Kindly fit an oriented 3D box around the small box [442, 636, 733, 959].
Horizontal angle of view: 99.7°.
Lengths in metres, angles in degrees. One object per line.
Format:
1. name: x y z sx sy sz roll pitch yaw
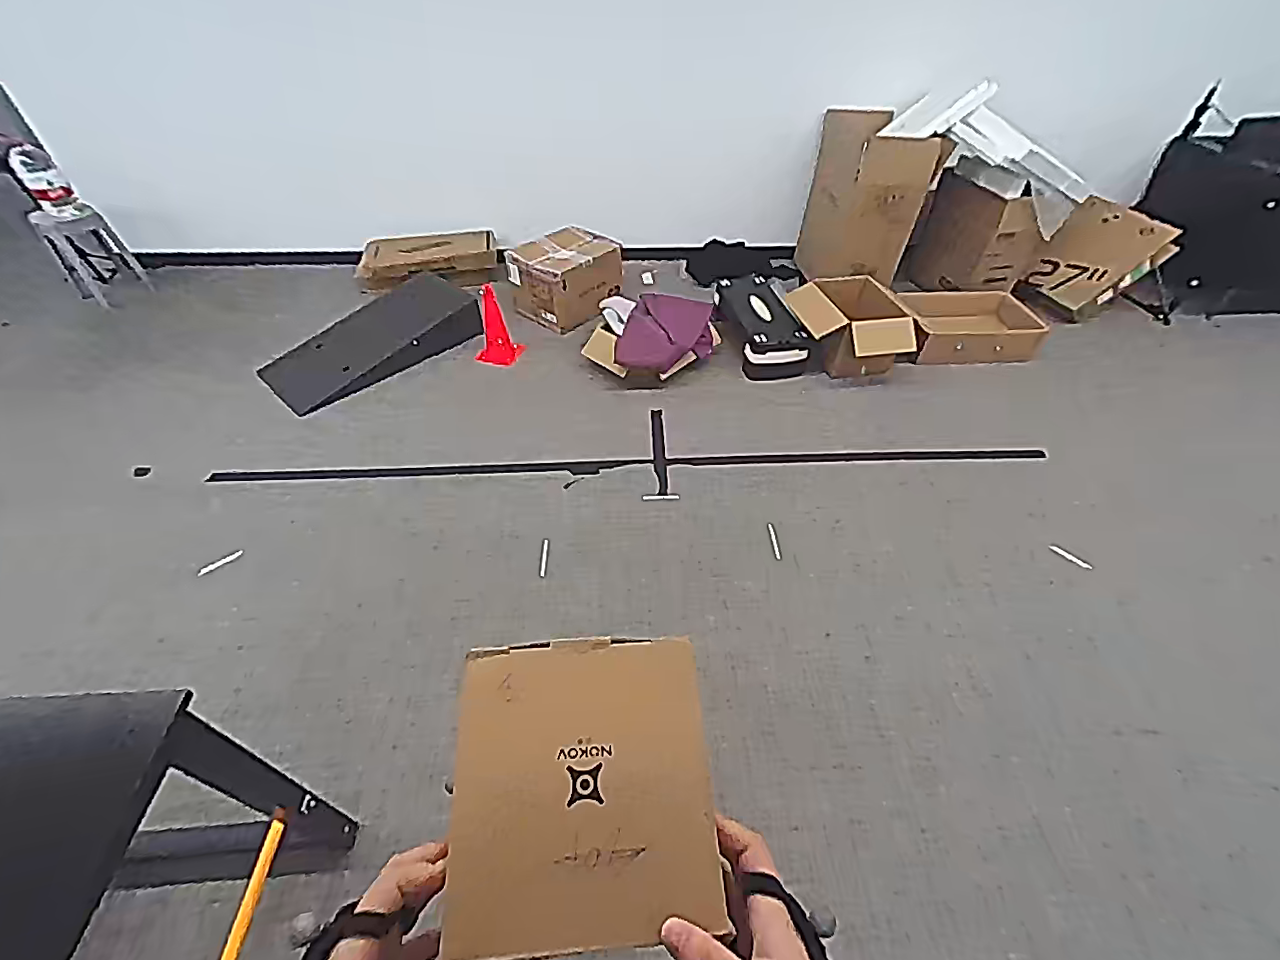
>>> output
1. small box: -0.040 0.231 0.412 0.168 0.176 0.179 -1 59 -6
